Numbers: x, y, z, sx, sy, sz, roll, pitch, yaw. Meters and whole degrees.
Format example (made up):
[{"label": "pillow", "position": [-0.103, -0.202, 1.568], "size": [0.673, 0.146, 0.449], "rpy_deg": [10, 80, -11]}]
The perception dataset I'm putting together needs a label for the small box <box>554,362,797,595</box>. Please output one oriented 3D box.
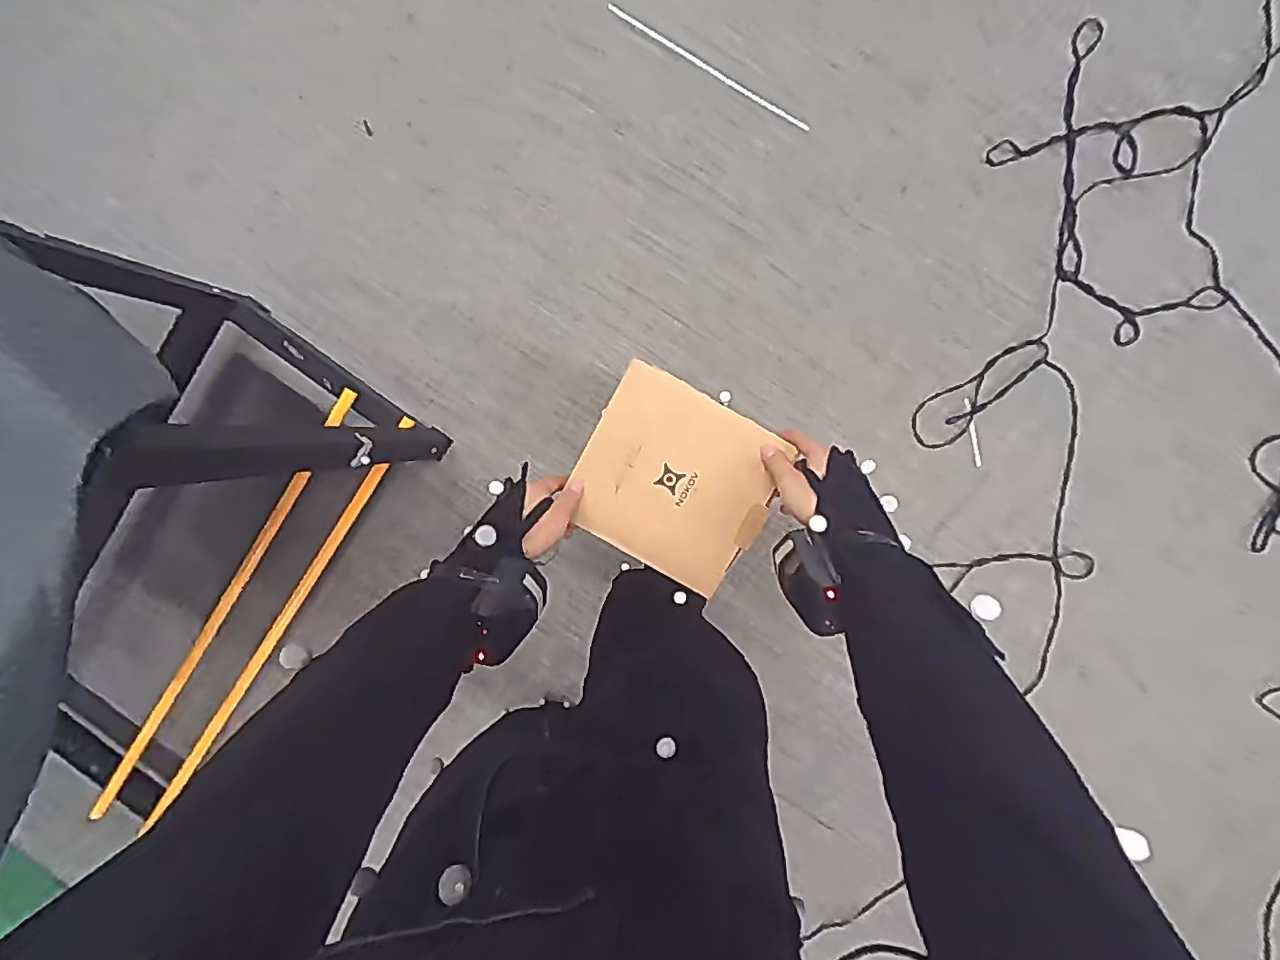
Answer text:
[{"label": "small box", "position": [0.037, -0.011, 0.581], "size": [0.179, 0.176, 0.168], "rpy_deg": [29, 99, 1]}]
